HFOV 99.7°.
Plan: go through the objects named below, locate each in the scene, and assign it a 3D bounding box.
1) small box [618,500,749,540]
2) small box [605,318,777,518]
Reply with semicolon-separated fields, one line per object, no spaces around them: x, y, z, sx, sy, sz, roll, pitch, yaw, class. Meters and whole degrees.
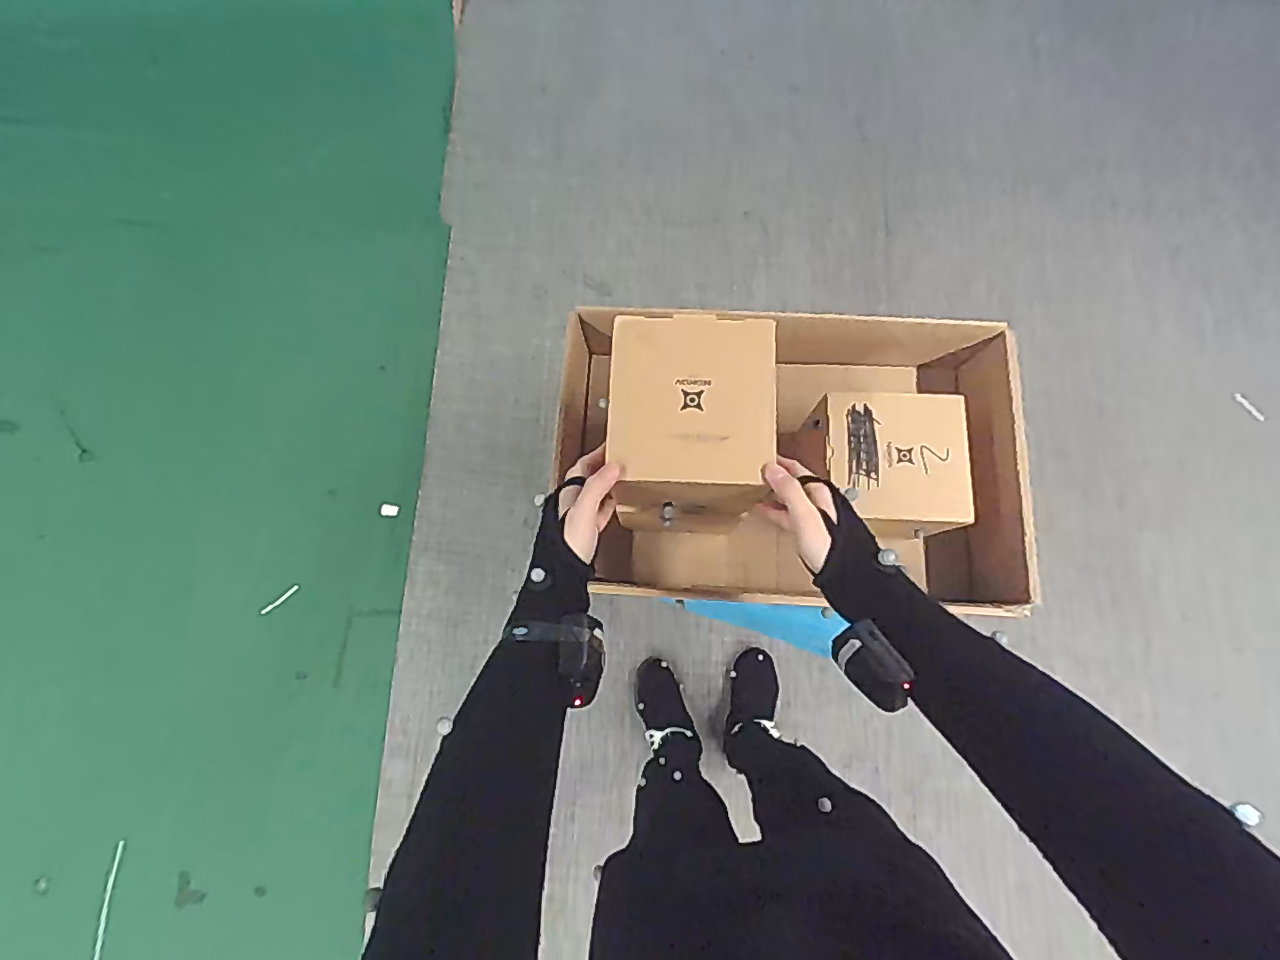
0.062;-0.018;0.767;0.168;0.176;0.179;3;76;3;small box
0.054;-0.060;0.610;0.168;0.176;0.179;3;78;3;small box
